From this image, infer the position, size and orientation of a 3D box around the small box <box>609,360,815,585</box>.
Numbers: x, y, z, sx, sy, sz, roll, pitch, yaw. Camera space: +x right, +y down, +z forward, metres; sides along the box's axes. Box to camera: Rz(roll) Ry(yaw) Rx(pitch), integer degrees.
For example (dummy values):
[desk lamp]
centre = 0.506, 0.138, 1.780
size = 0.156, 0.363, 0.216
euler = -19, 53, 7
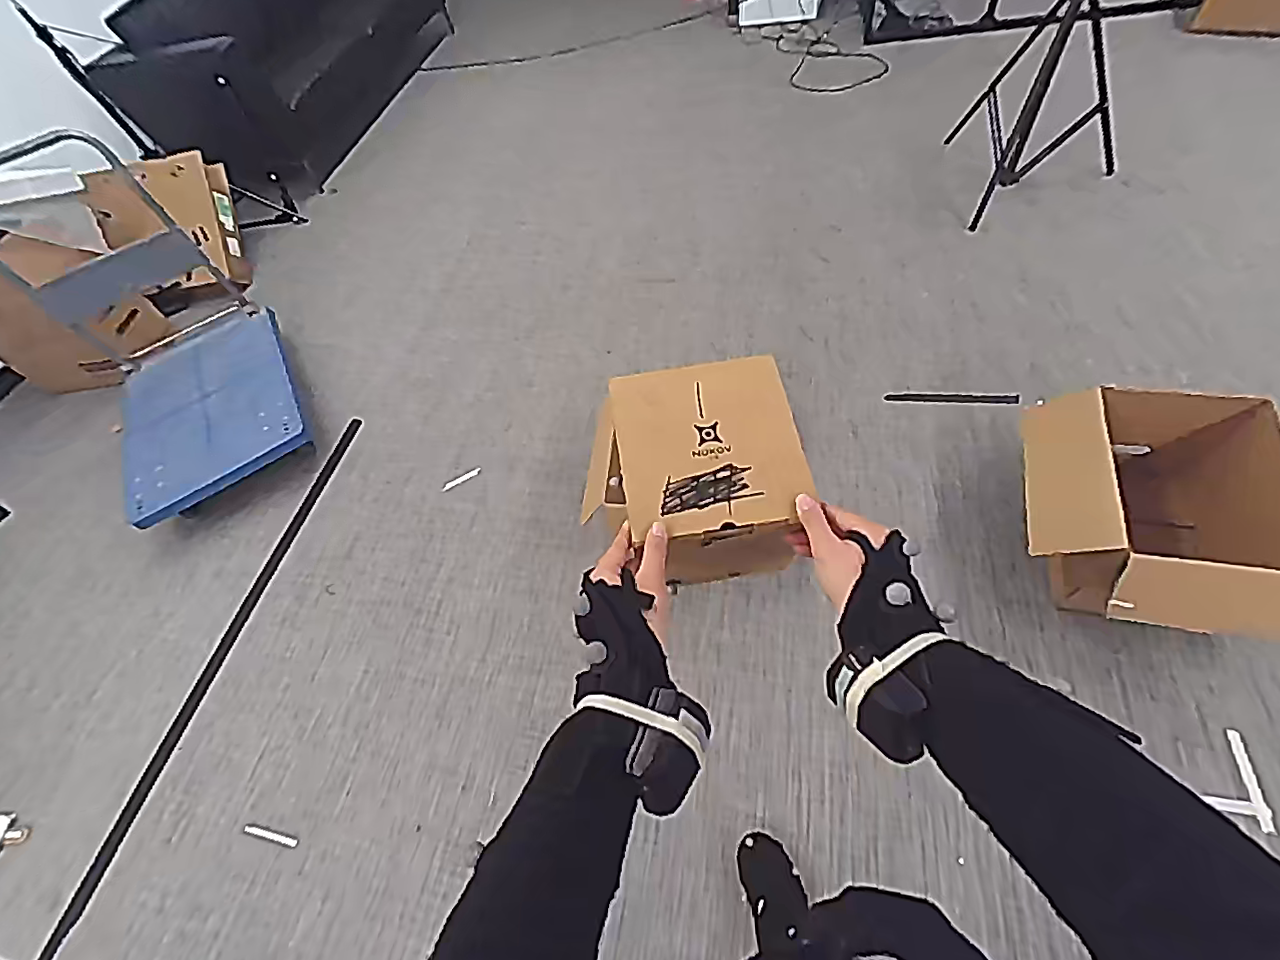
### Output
[small box]
centre = 0.065, 0.003, 0.572
size = 0.168, 0.176, 0.179
euler = -9, 63, -2
